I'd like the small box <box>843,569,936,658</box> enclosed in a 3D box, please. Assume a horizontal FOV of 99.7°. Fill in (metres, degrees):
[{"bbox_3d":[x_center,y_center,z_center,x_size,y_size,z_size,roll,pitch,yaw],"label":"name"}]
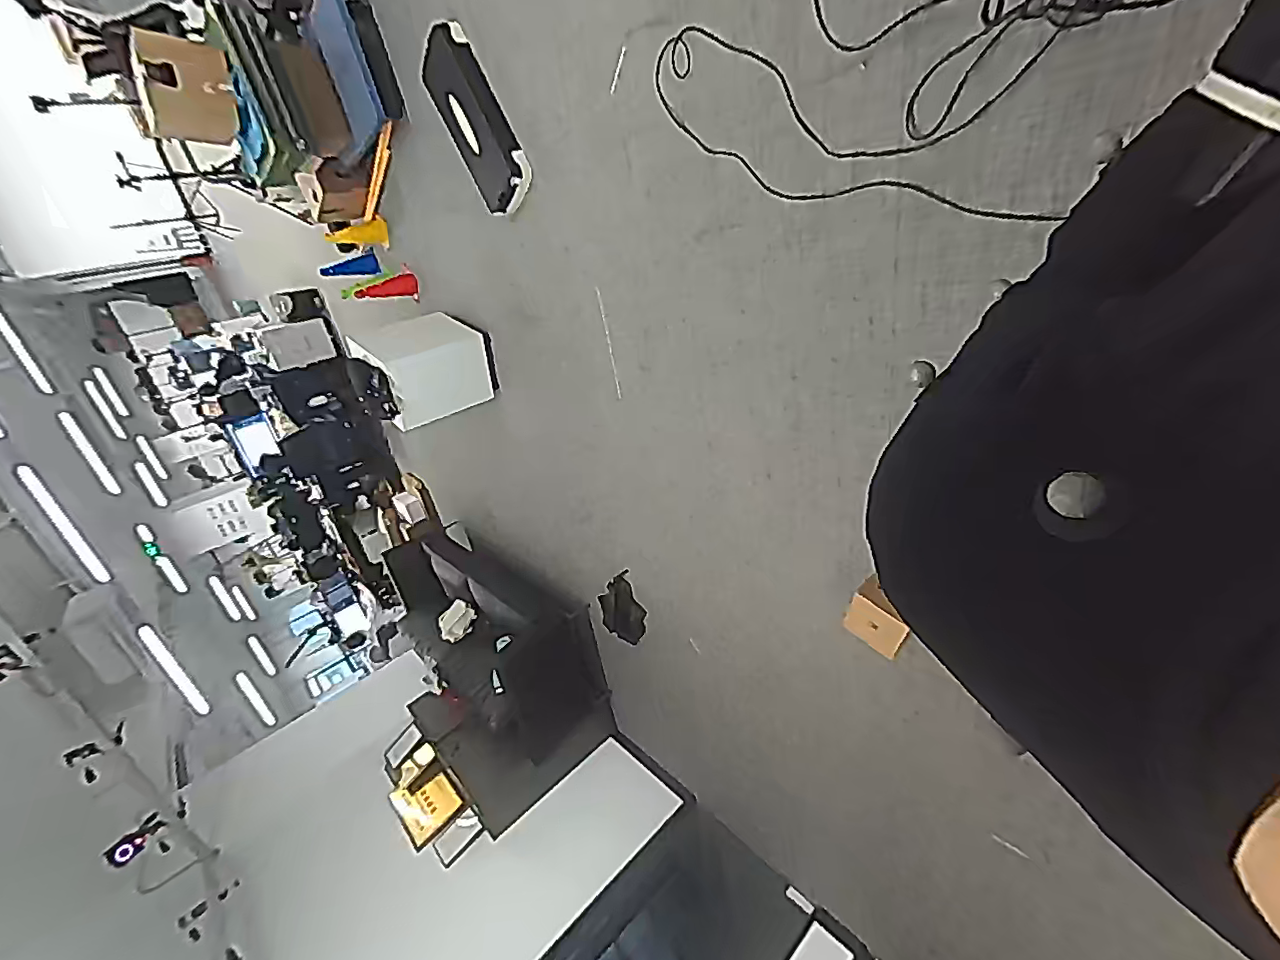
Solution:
[{"bbox_3d":[0.761,0.397,1.654,0.179,0.176,0.168,34,139,33],"label":"small box"}]
